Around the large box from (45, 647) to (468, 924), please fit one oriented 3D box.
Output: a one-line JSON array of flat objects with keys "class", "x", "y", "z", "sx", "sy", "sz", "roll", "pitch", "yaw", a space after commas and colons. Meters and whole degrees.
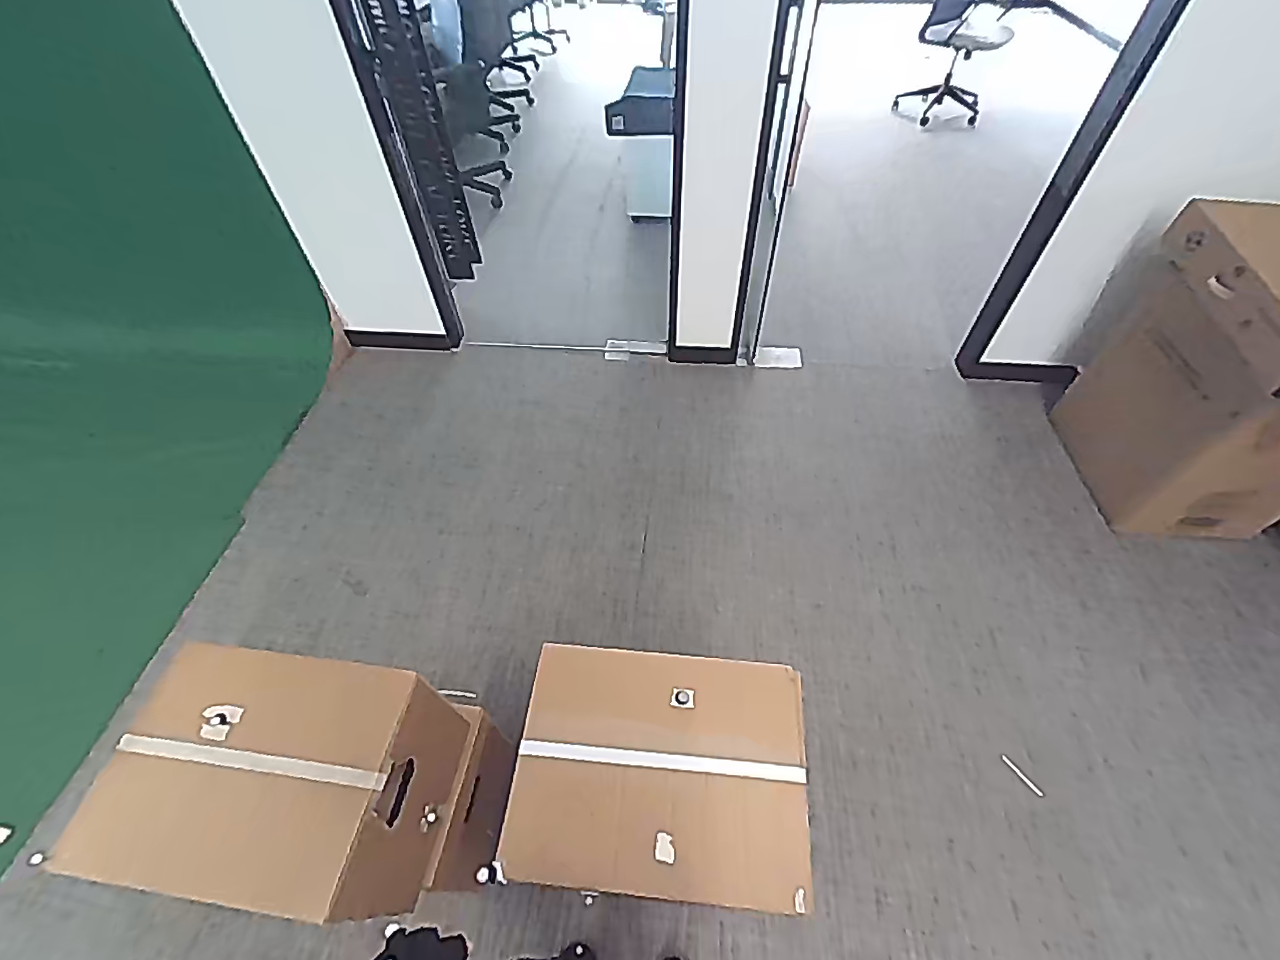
[{"class": "large box", "x": -0.557, "y": 0.496, "z": 0.892, "sx": 0.408, "sy": 0.320, "sz": 0.320, "roll": 5, "pitch": 53, "yaw": 6}]
